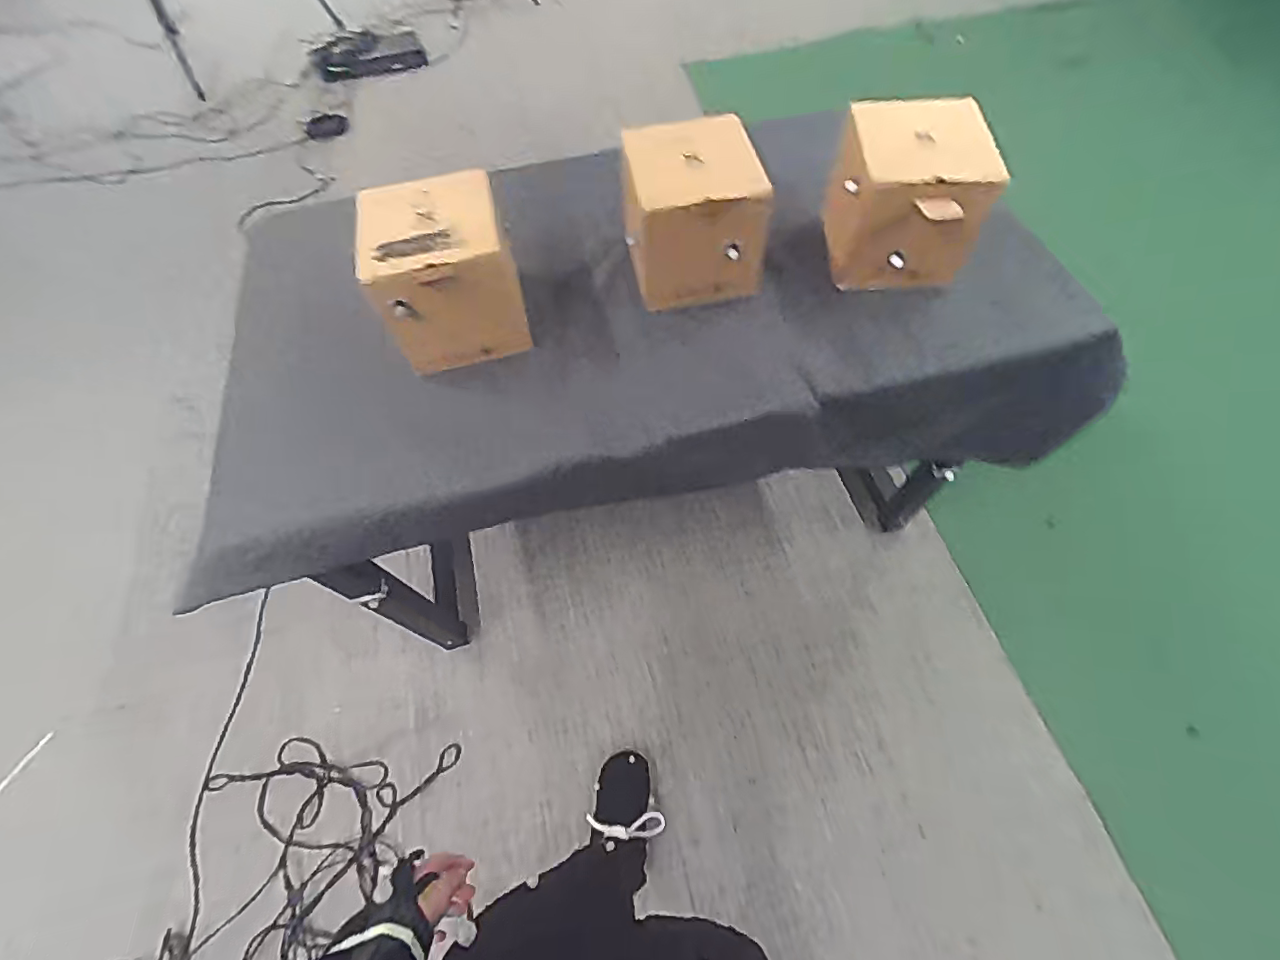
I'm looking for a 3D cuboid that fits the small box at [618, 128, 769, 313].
[{"bbox_3d":[0.068,-0.356,0.767,0.168,0.176,0.179,-11,60,-4],"label":"small box"}]

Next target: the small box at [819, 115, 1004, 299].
[{"bbox_3d":[0.364,-0.382,0.766,0.168,0.176,0.179,0,62,3],"label":"small box"}]
